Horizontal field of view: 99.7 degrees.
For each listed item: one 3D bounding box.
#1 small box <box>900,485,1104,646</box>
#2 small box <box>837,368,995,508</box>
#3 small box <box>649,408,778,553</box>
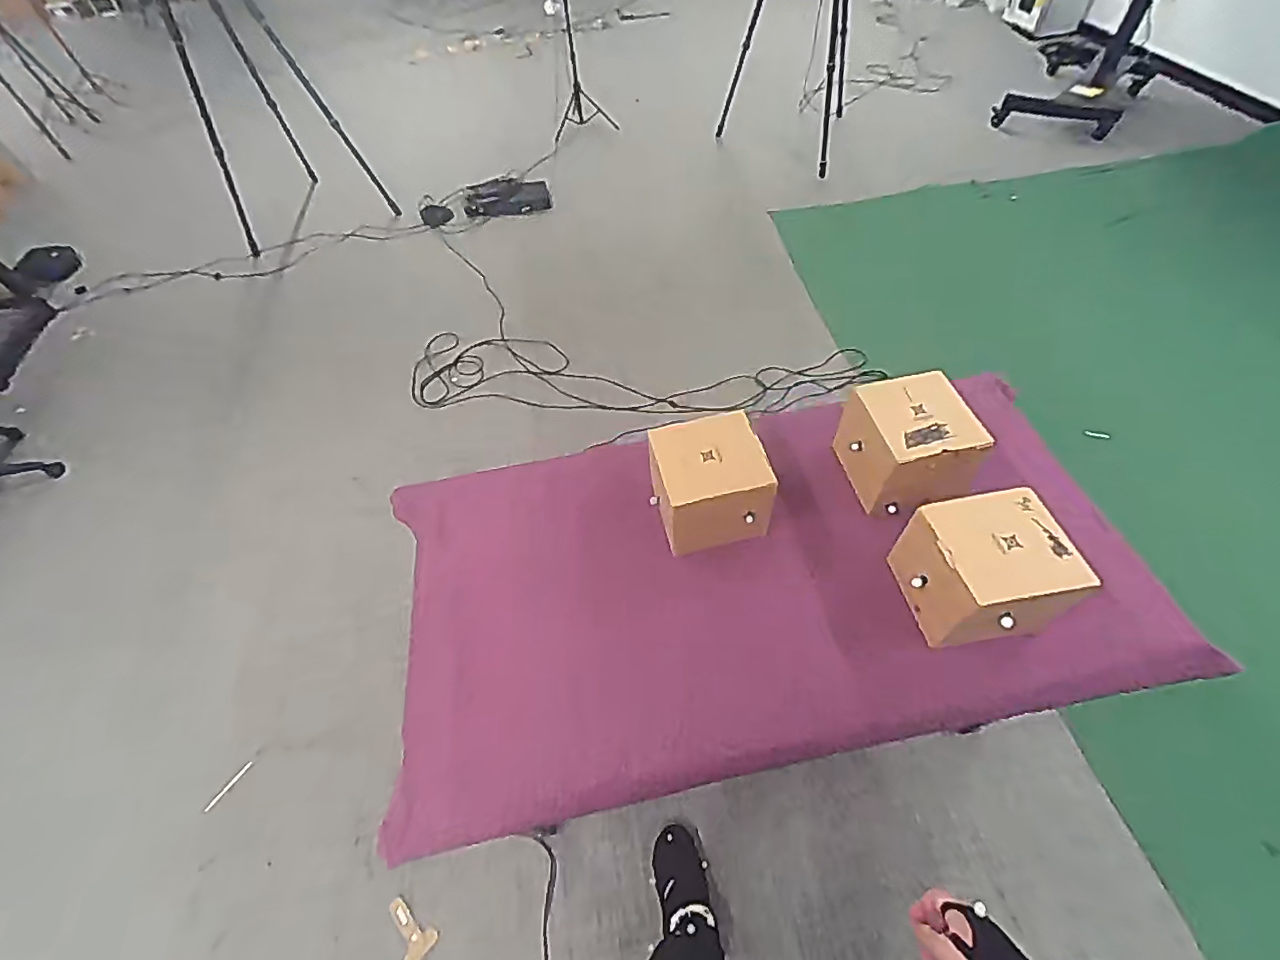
[{"bbox_3d":[0.514,0.133,0.808,0.179,0.176,0.168,-10,53,-1],"label":"small box"},{"bbox_3d":[0.471,-0.066,0.955,0.168,0.176,0.179,-11,54,-3],"label":"small box"},{"bbox_3d":[0.120,0.005,0.938,0.179,0.176,0.168,-13,54,-3],"label":"small box"}]
